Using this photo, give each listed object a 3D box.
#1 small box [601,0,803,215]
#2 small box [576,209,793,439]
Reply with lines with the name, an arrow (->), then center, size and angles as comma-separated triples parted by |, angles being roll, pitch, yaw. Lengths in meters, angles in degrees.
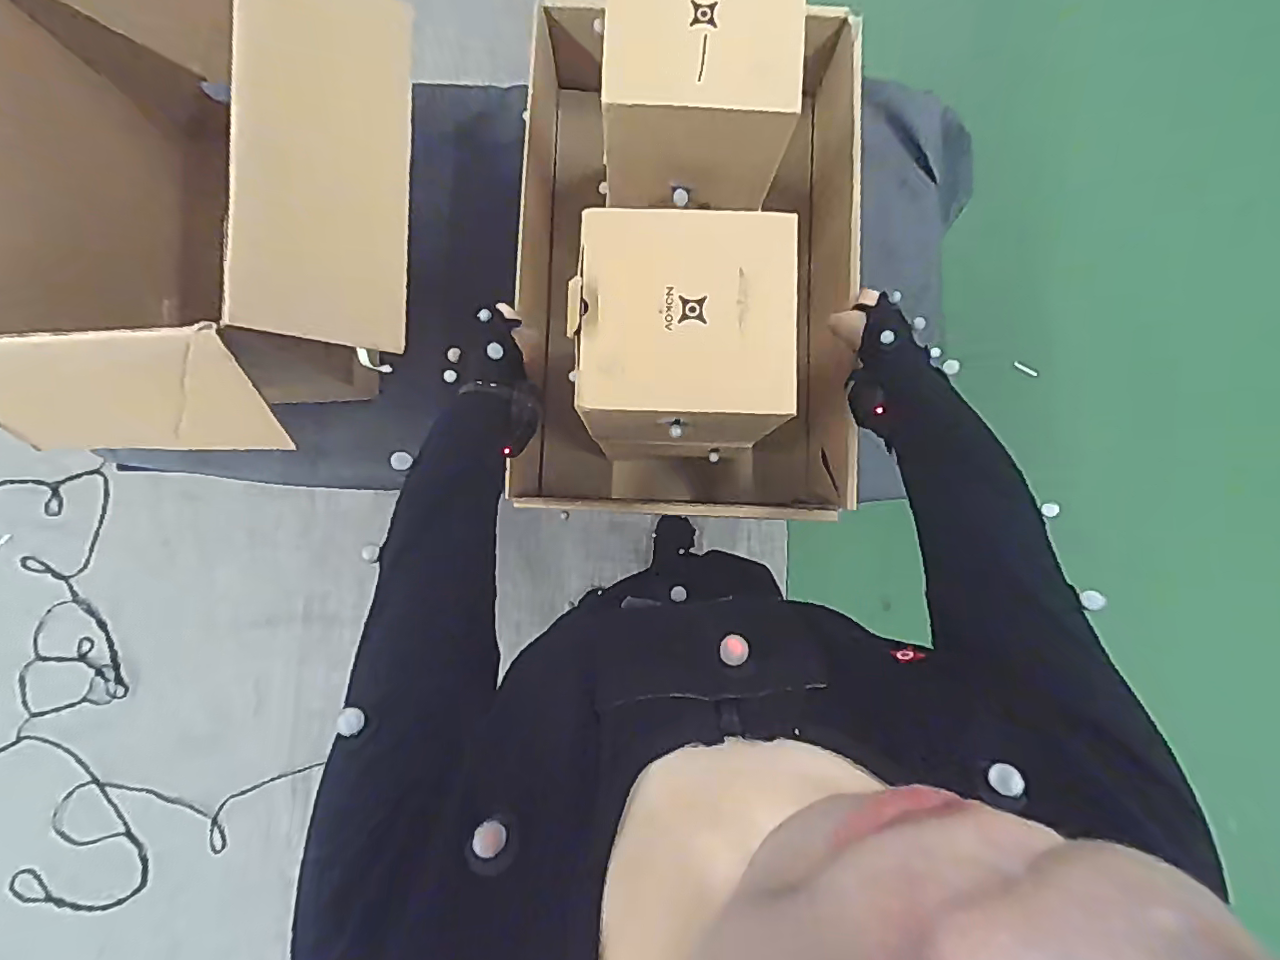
small box -> 0.051, -0.387, 0.529 | 0.168, 0.176, 0.179 | 3, 89, -1
small box -> 0.036, -0.132, 0.518 | 0.179, 0.176, 0.168 | 1, 87, -2
